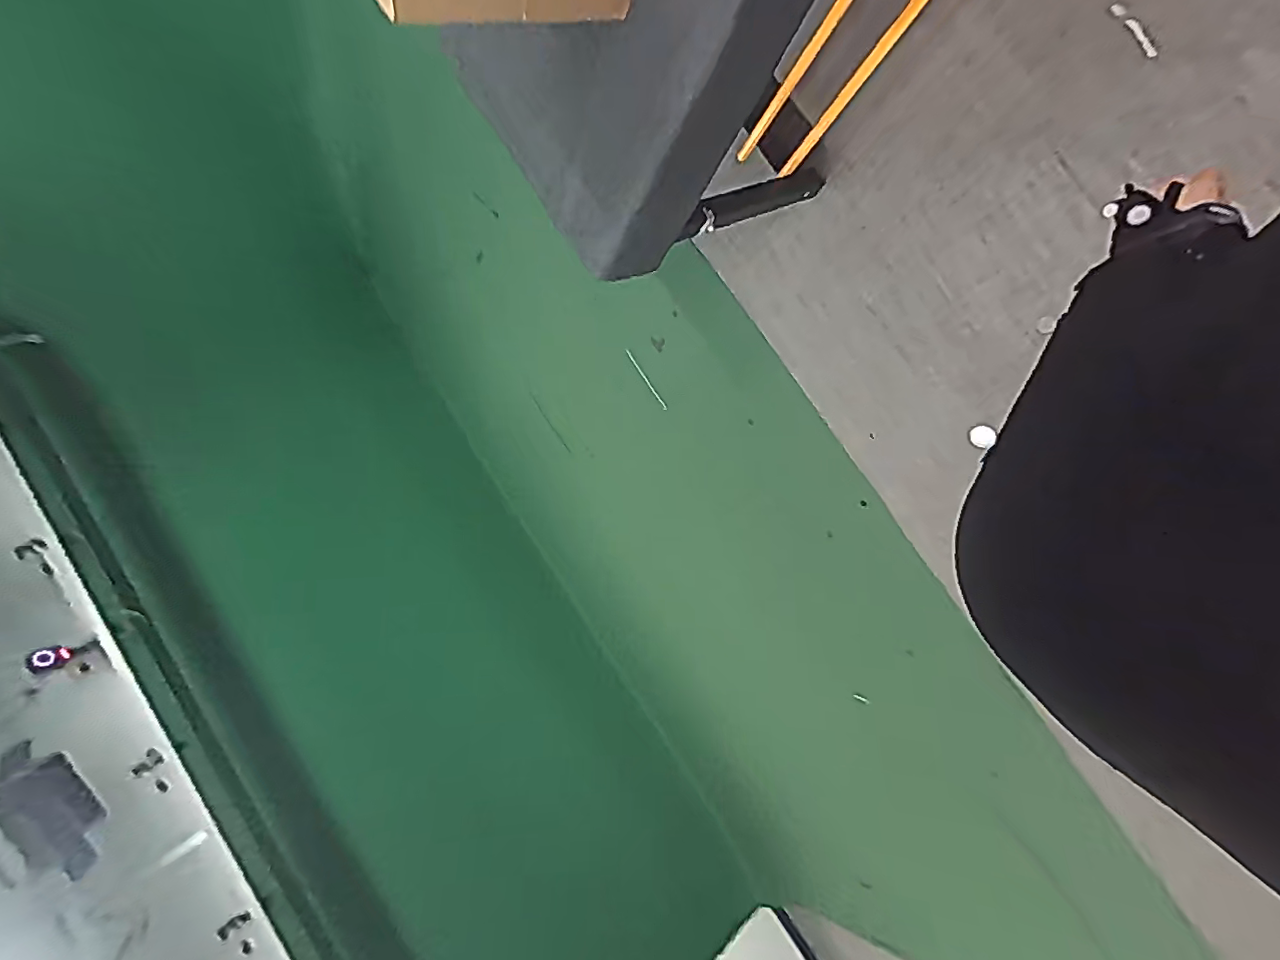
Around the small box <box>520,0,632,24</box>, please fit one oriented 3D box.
[{"bbox_3d":[-0.090,-0.699,0.646,0.168,0.176,0.179,58,151,5],"label":"small box"}]

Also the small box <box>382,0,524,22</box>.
[{"bbox_3d":[-0.217,-0.632,0.565,0.168,0.176,0.179,57,149,6],"label":"small box"}]
